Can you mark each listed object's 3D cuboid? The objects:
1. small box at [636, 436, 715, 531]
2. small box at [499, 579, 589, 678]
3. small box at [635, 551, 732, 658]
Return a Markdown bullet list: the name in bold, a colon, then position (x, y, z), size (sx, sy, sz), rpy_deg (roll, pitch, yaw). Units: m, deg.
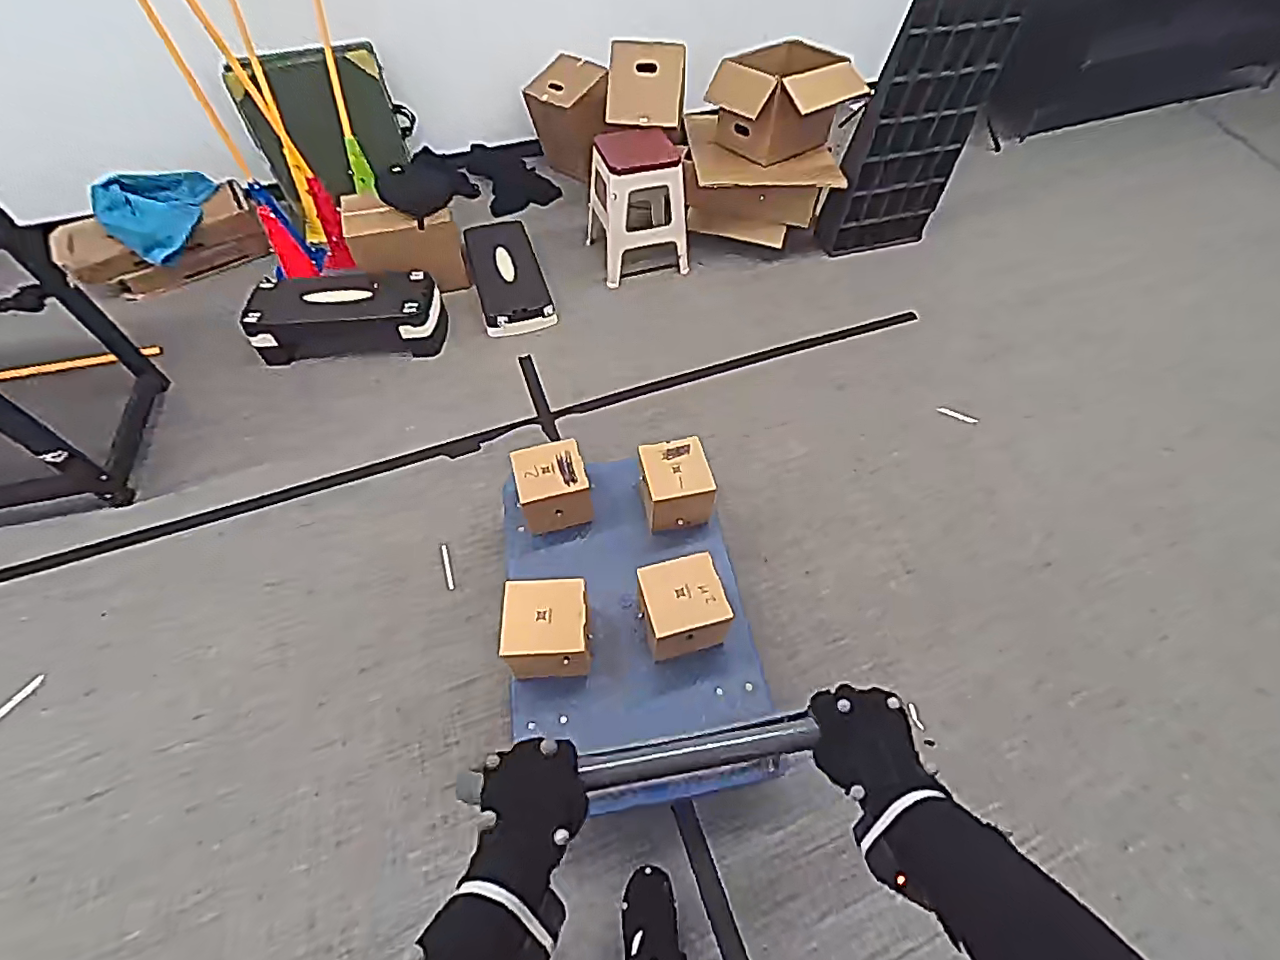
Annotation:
- **small box**: position (0.086, 0.011, 1.432), size (0.168, 0.176, 0.179), rpy_deg (-11, 57, -8)
- **small box**: position (-0.206, 0.335, 1.205), size (0.179, 0.176, 0.168), rpy_deg (-2, 55, -4)
- **small box**: position (0.092, 0.290, 1.239), size (0.179, 0.176, 0.168), rpy_deg (-13, 57, -9)
